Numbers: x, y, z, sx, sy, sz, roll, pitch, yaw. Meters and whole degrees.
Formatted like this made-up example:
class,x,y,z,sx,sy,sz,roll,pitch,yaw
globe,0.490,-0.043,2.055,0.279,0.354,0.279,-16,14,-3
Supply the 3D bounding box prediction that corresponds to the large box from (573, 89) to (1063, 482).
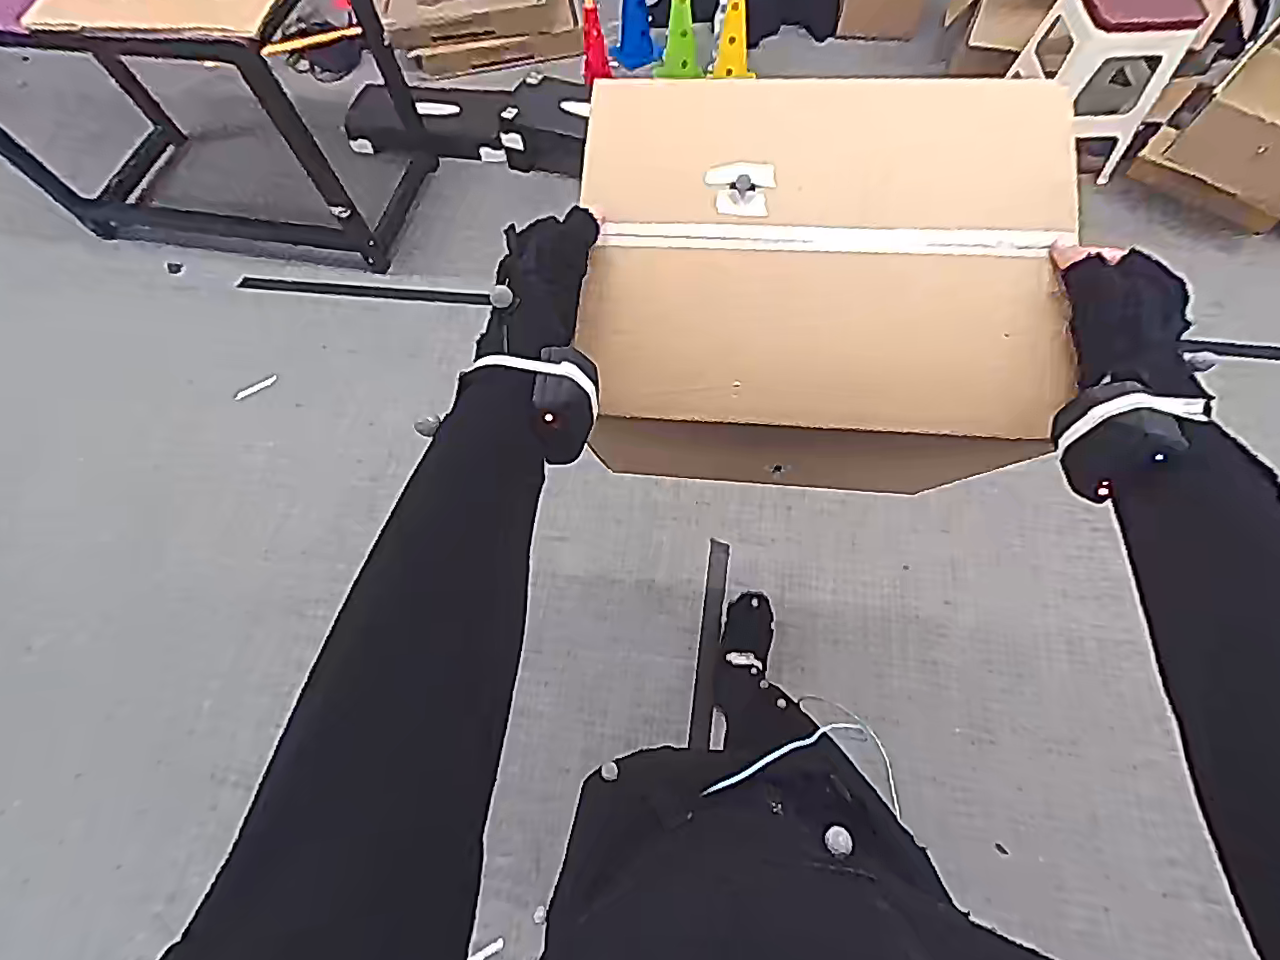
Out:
class,x,y,z,sx,sy,sz,roll,pitch,yaw
large box,0.166,-0.176,0.615,0.408,0.320,0.320,4,81,7
